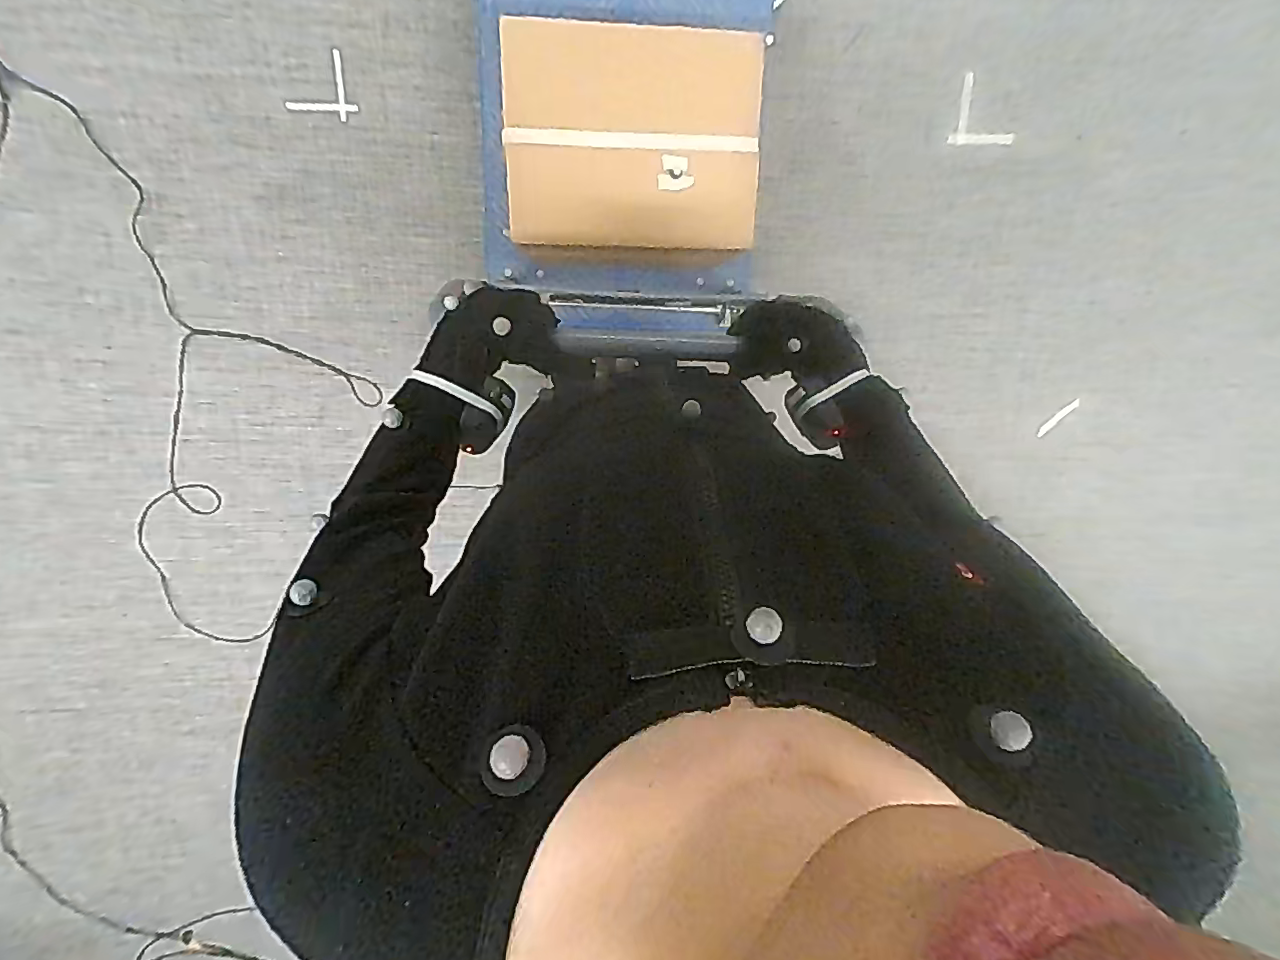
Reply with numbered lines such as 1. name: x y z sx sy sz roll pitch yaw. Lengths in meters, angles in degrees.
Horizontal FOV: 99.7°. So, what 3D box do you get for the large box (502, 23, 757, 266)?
1. large box: -0.028 -0.586 1.014 0.408 0.320 0.320 -1 106 -6
